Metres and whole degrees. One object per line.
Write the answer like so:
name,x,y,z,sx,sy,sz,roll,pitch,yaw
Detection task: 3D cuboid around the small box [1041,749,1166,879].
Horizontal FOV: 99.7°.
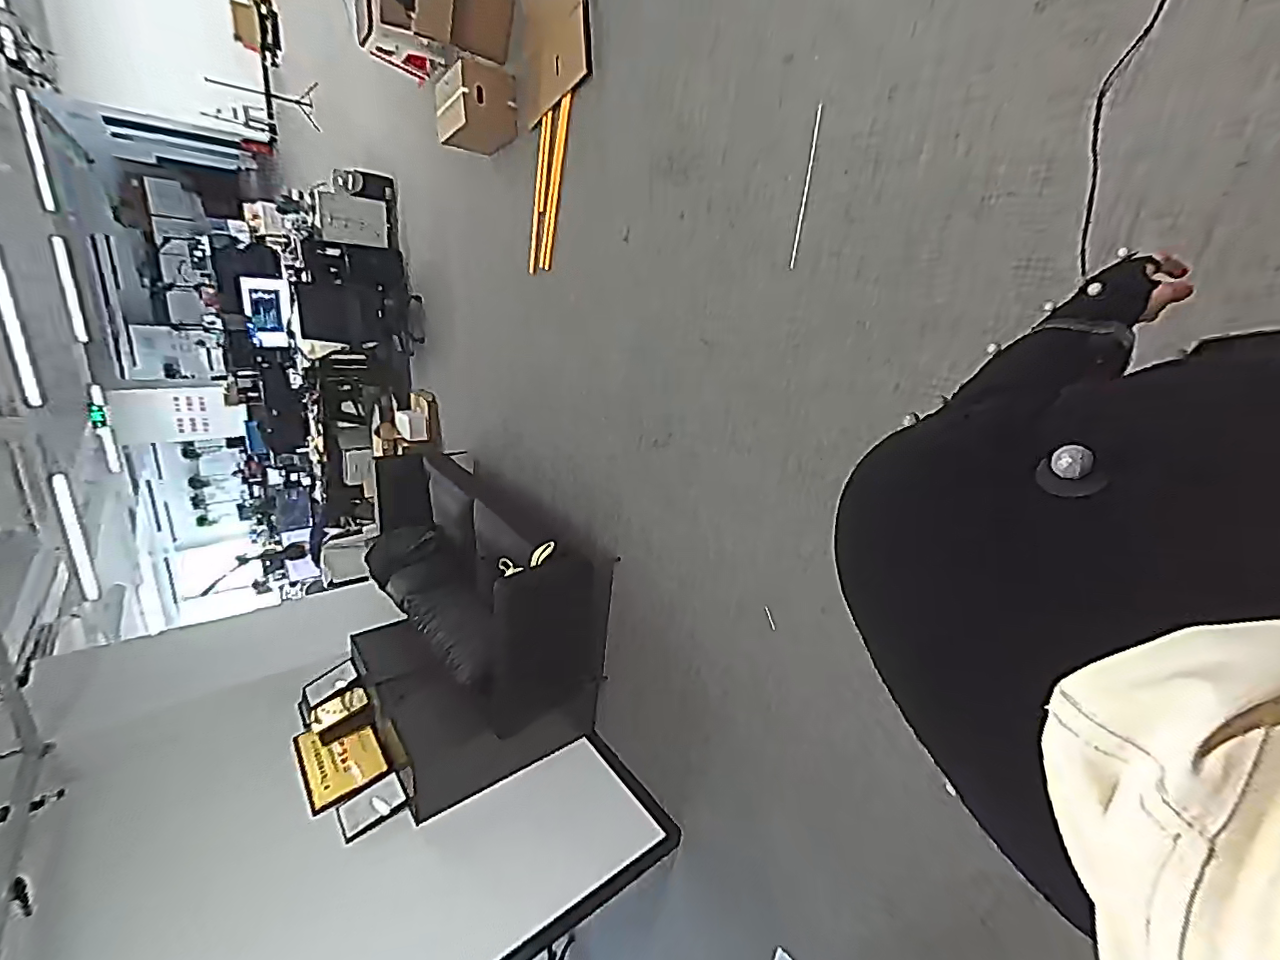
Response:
small box,1.125,0.798,1.313,0.179,0.176,0.168,28,119,45
